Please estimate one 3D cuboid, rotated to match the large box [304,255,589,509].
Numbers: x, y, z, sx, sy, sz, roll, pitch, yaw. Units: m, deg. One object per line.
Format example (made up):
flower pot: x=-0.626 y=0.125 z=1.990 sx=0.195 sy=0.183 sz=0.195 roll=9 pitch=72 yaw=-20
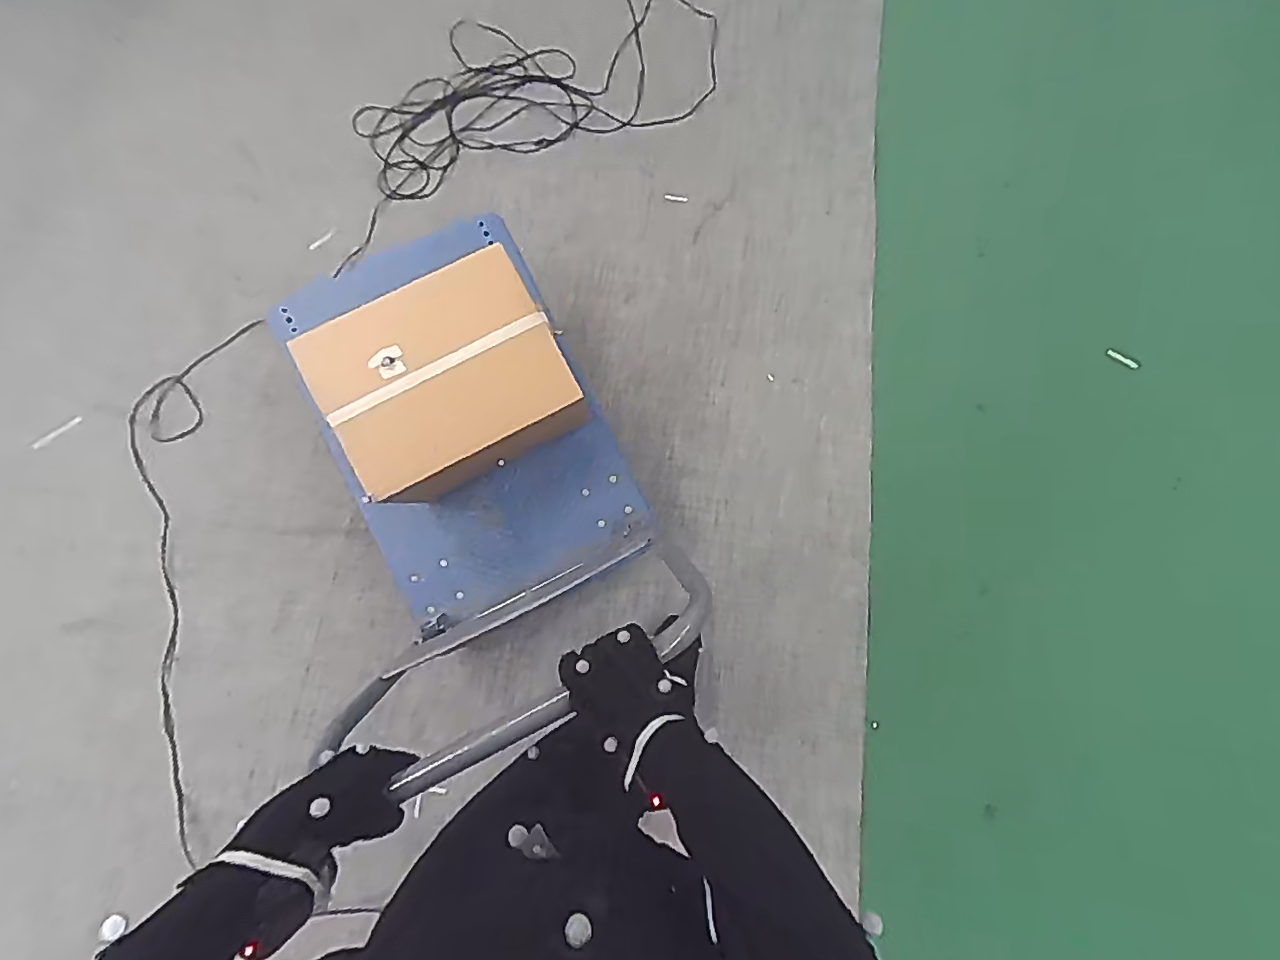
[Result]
large box: x=-0.351 y=-0.172 z=1.101 sx=0.408 sy=0.320 sz=0.320 roll=-28 pitch=89 yaw=-4
